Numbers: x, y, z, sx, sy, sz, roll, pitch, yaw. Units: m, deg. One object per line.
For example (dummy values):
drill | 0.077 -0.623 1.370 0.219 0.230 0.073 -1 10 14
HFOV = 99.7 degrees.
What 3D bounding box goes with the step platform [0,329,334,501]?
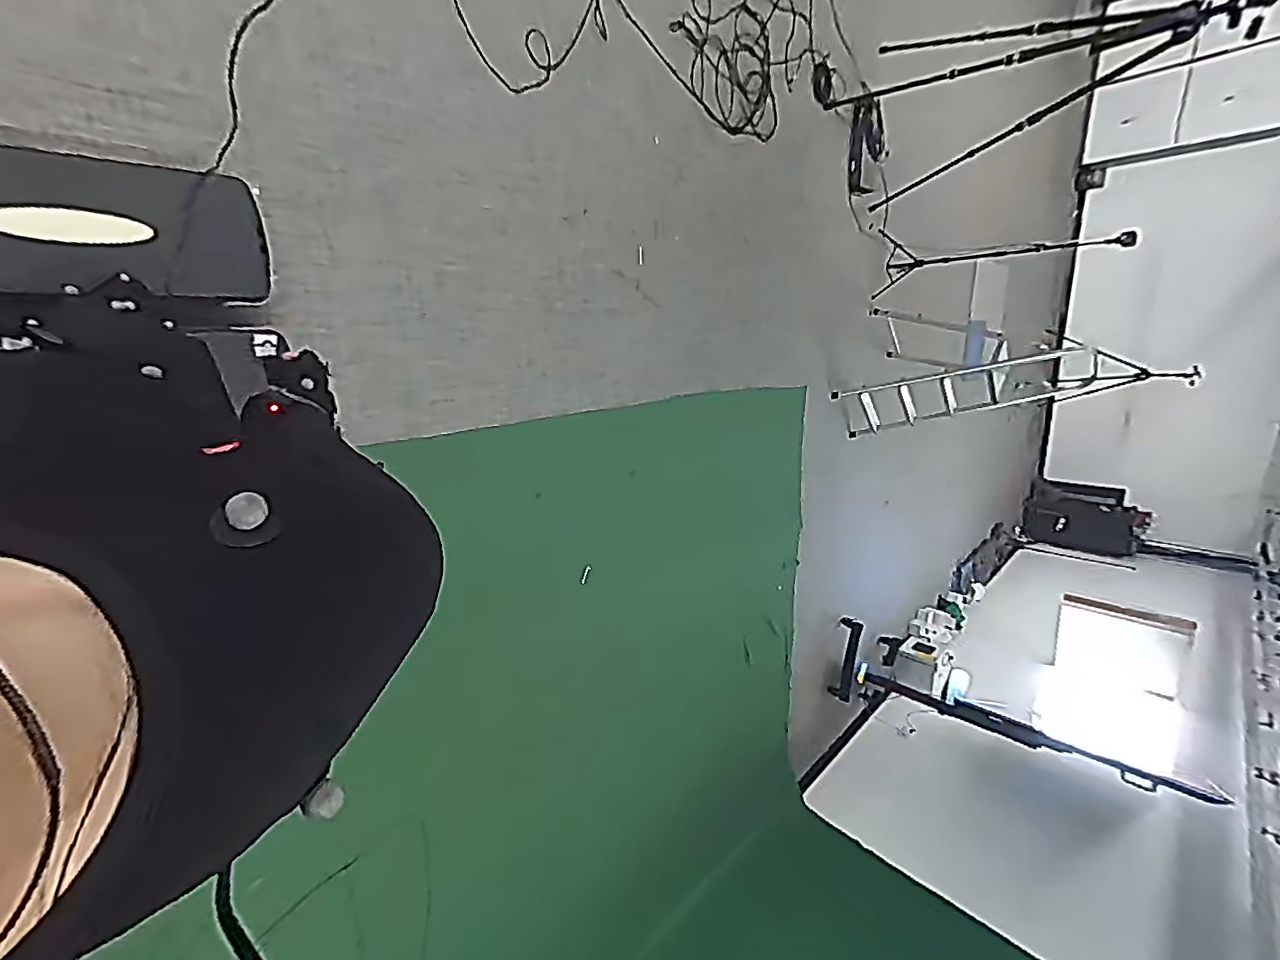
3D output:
step platform | -0.982 -0.128 1.010 0.684 0.204 0.286 -16 110 -43
